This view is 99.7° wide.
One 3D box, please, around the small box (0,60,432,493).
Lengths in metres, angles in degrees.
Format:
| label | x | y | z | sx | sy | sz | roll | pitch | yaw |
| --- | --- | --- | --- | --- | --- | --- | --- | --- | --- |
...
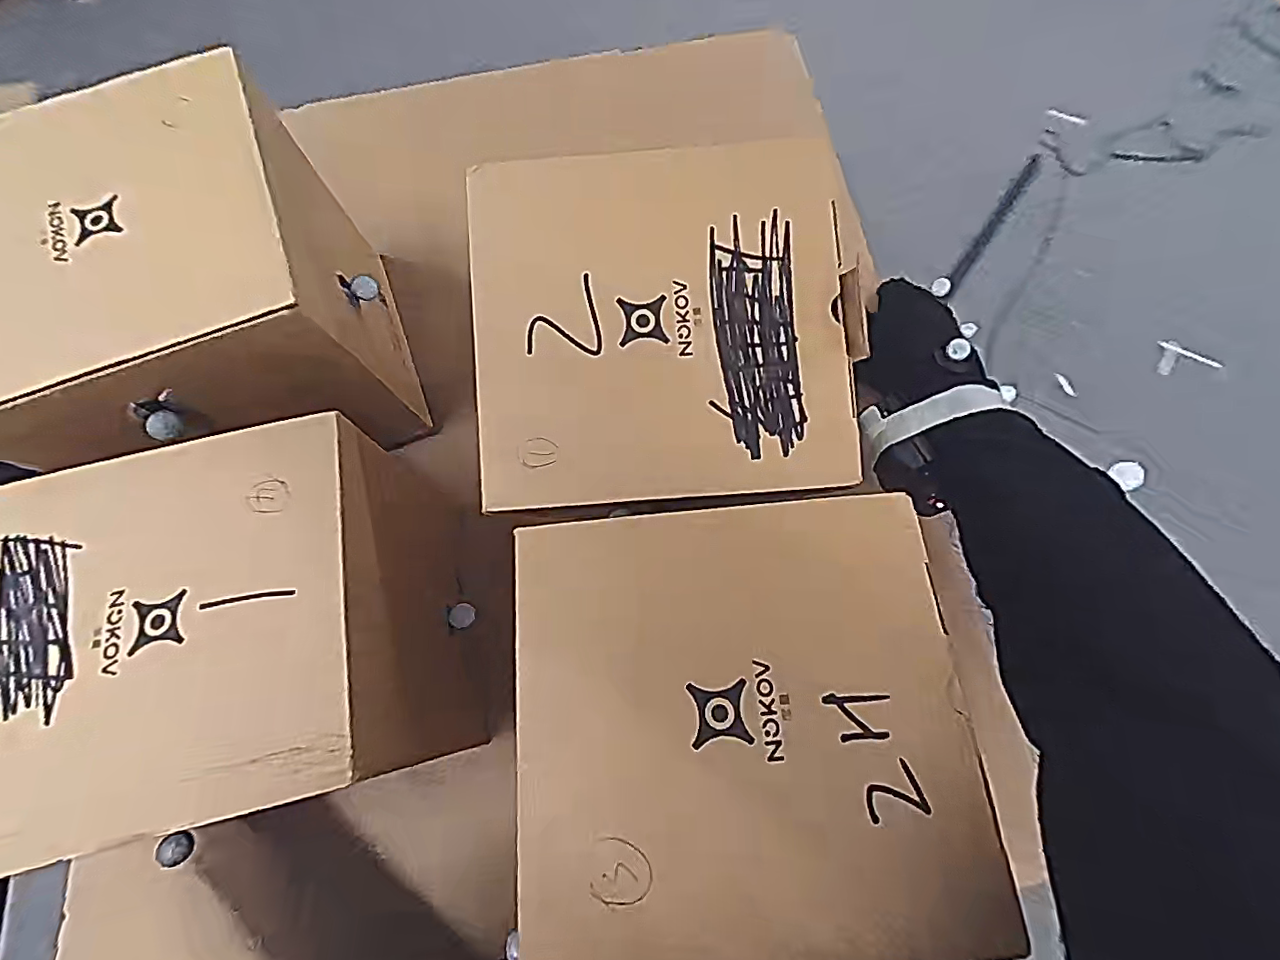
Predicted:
| label | x | y | z | sx | sy | sz | roll | pitch | yaw |
| --- | --- | --- | --- | --- | --- | --- | --- | --- | --- |
| small box | -0.254 | -0.107 | 0.348 | 0.179 | 0.176 | 0.168 | -20 | 75 | -3 |
